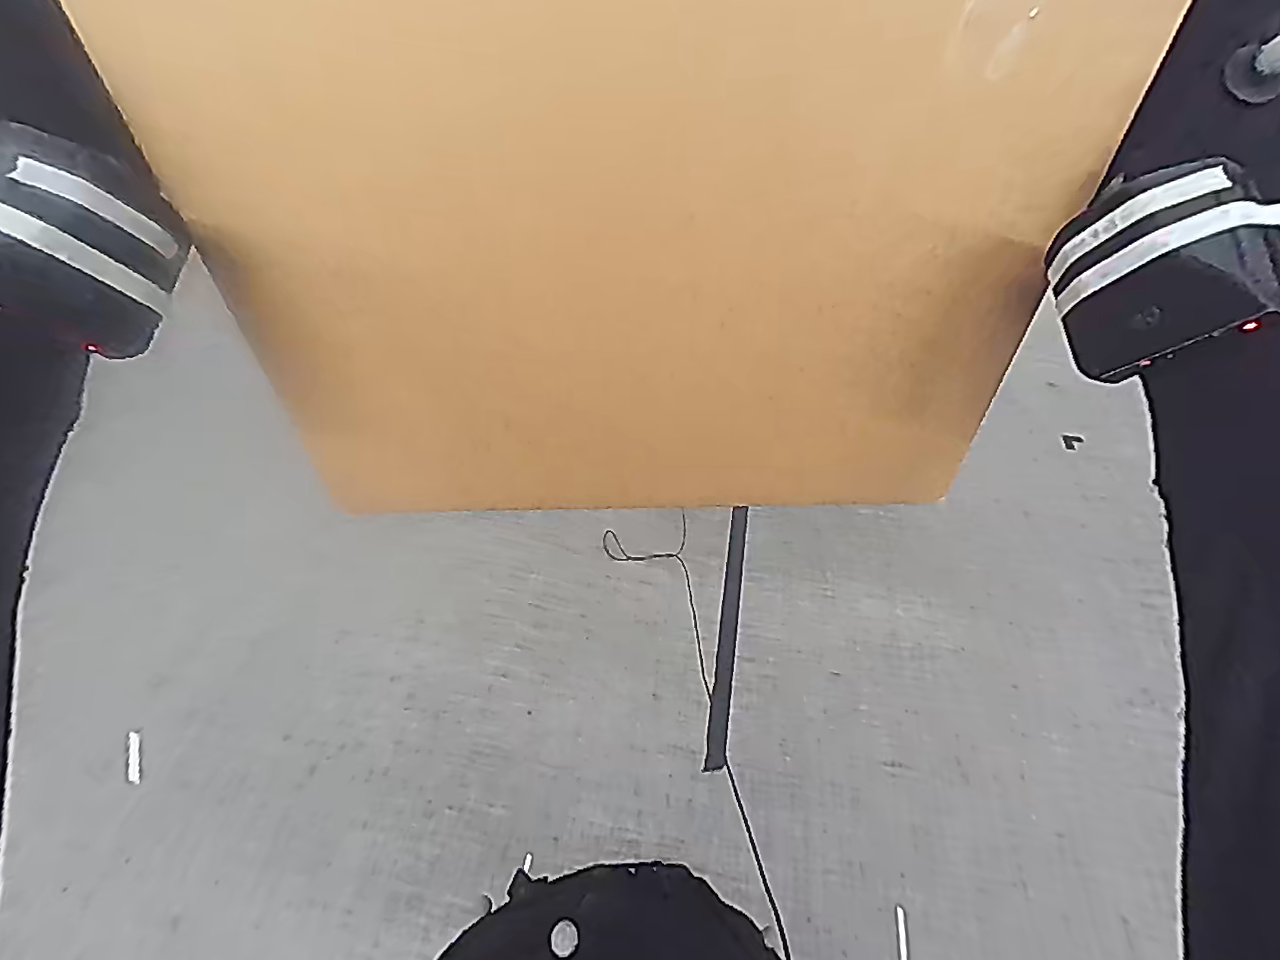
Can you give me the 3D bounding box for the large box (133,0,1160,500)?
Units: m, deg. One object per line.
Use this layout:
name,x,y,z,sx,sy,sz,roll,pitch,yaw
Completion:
large box,0.001,-0.199,0.385,0.408,0.320,0.320,0,42,-1
